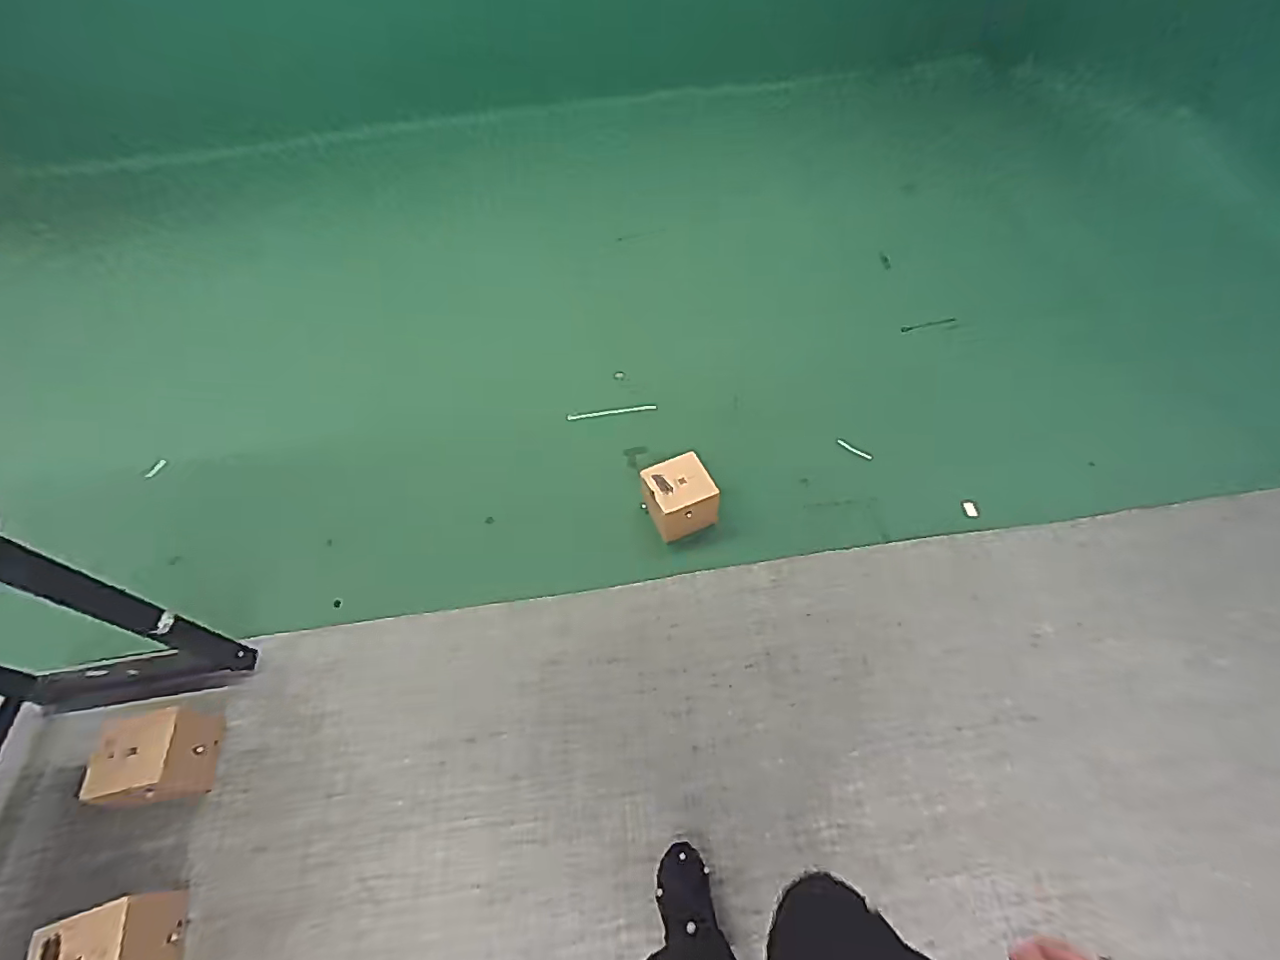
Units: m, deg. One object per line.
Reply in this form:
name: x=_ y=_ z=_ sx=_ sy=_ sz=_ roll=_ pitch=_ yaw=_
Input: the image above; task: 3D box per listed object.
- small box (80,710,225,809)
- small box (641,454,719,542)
small box: x=-1.139 y=0.666 z=1.284 sx=0.179 sy=0.176 sz=0.168 roll=-13 pitch=55 yaw=-4
small box: x=0.118 y=0.058 z=1.601 sx=0.179 sy=0.176 sz=0.168 roll=-21 pitch=57 yaw=-11
